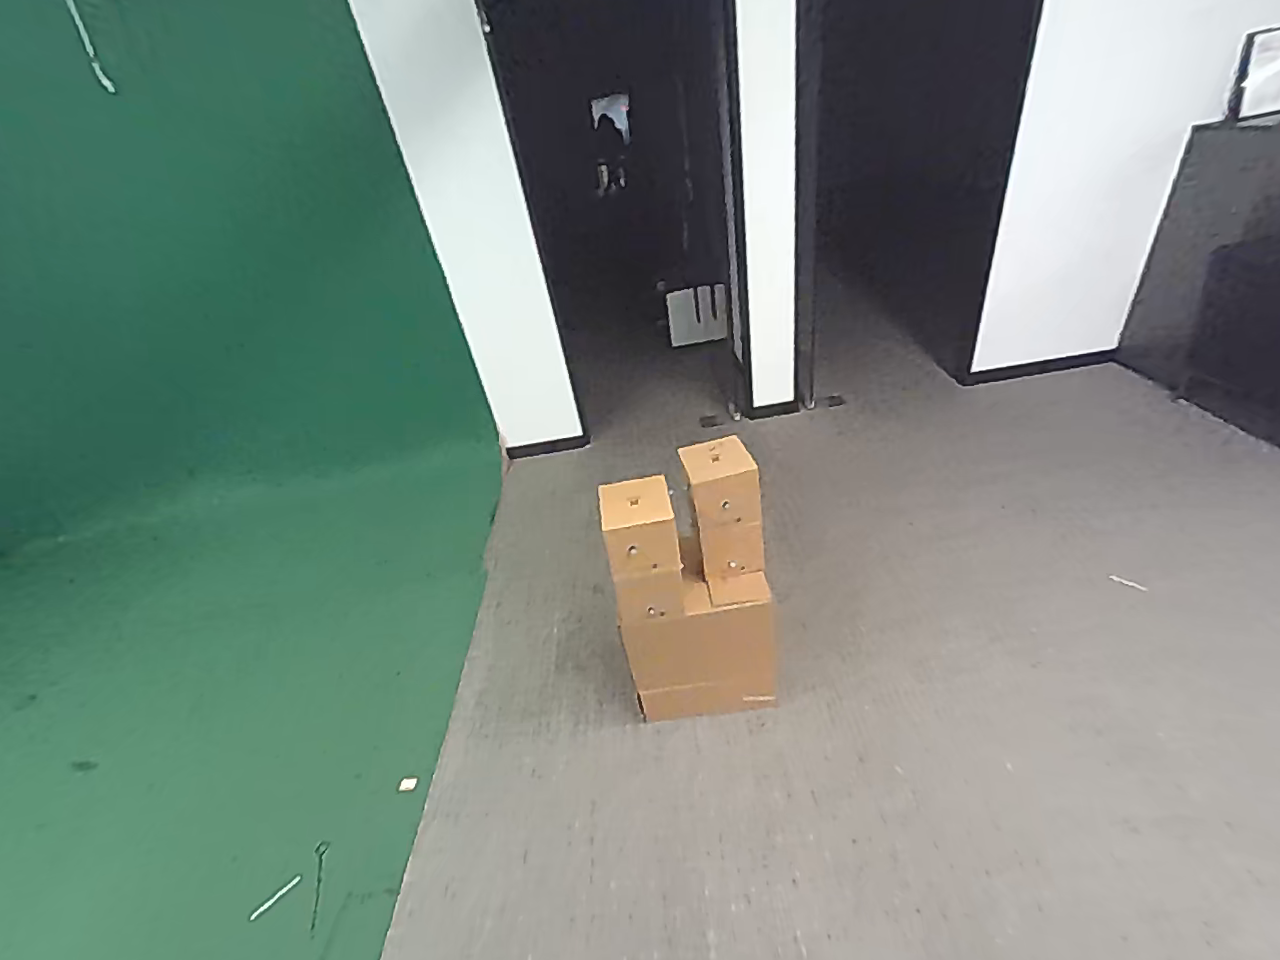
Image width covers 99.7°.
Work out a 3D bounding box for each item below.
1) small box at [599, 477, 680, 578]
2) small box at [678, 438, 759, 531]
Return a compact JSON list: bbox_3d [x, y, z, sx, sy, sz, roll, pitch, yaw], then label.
[{"bbox_3d":[-0.001,0.122,1.324,0.168,0.176,0.179,-10,36,-1],"label":"small box"},{"bbox_3d":[0.206,0.018,1.413,0.168,0.176,0.179,-13,34,-1],"label":"small box"}]
